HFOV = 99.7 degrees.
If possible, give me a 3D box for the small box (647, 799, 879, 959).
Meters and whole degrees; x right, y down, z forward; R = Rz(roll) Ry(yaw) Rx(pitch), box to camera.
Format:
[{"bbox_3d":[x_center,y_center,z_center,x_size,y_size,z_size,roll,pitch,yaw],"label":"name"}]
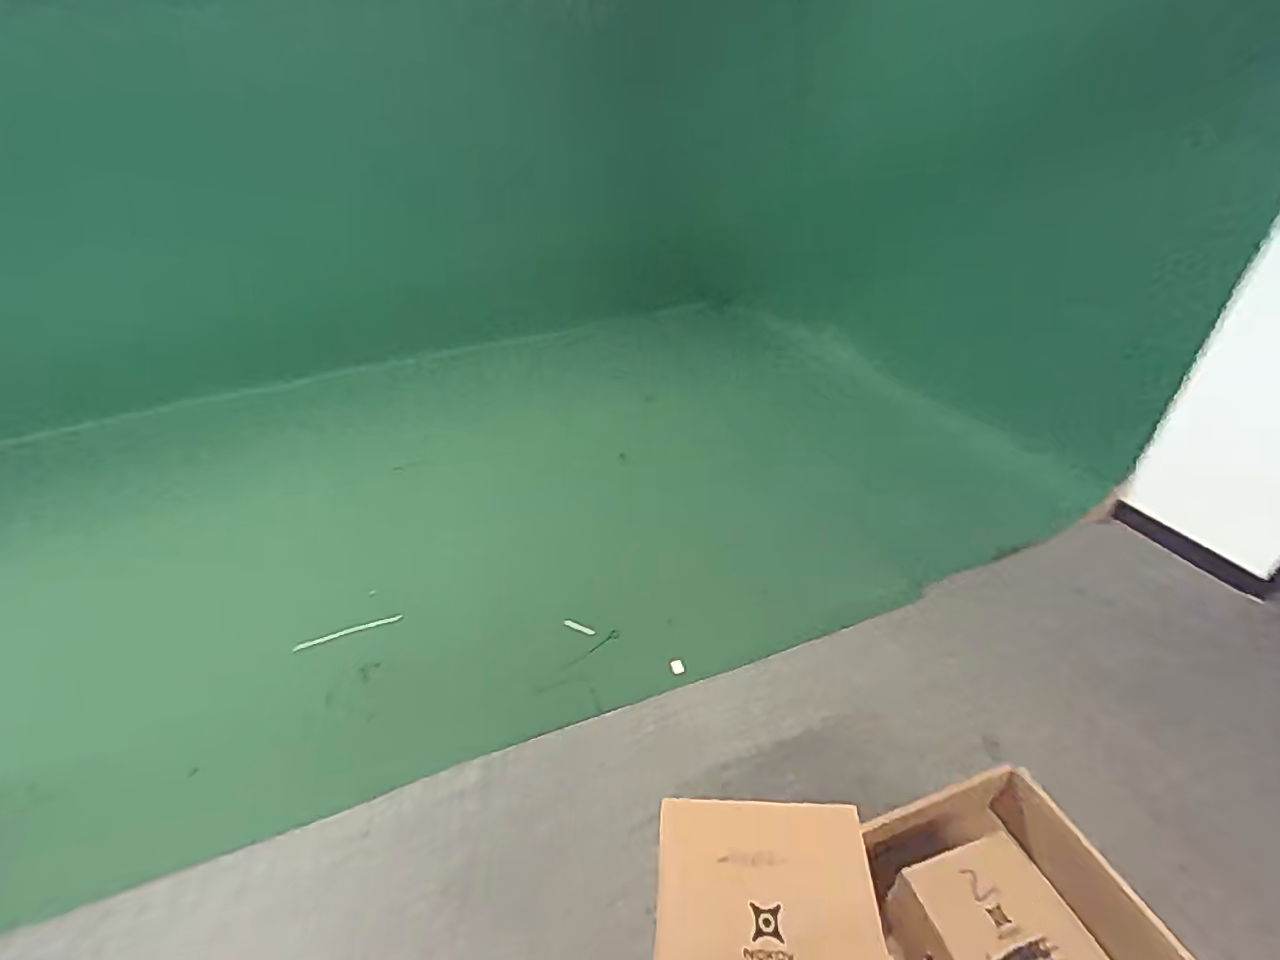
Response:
[{"bbox_3d":[0.098,0.393,0.446,0.168,0.176,0.179,-3,38,7],"label":"small box"}]
